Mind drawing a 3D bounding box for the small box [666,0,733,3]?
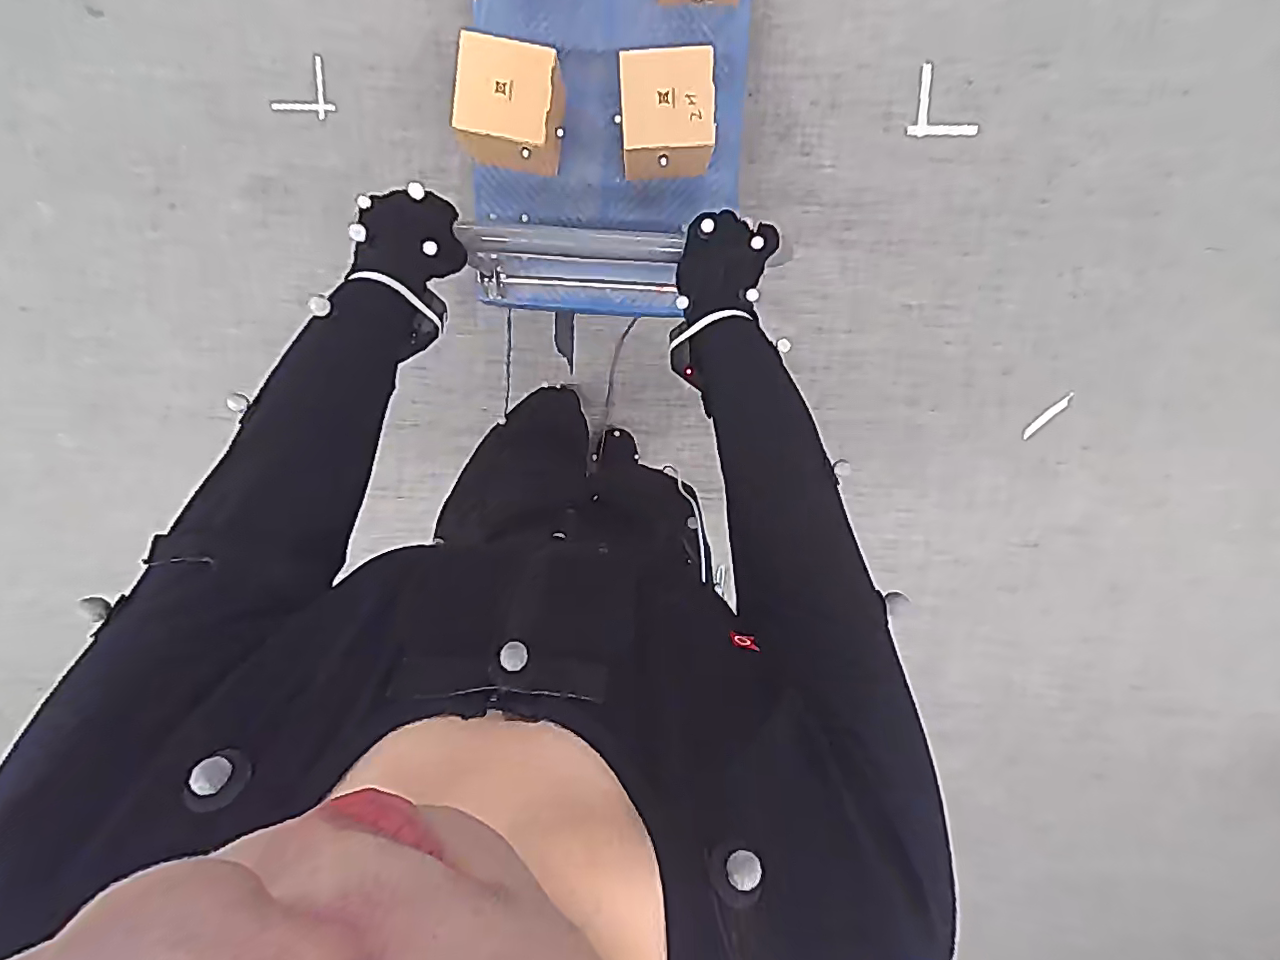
[{"bbox_3d":[0.119,-1.045,1.007,0.168,0.176,0.179,0,102,0],"label":"small box"}]

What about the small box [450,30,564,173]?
[{"bbox_3d":[-0.255,-0.733,1.069,0.179,0.176,0.168,9,100,-3],"label":"small box"}]

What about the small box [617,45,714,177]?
[{"bbox_3d":[0.049,-0.720,1.072,0.179,0.176,0.168,-3,101,0],"label":"small box"}]
